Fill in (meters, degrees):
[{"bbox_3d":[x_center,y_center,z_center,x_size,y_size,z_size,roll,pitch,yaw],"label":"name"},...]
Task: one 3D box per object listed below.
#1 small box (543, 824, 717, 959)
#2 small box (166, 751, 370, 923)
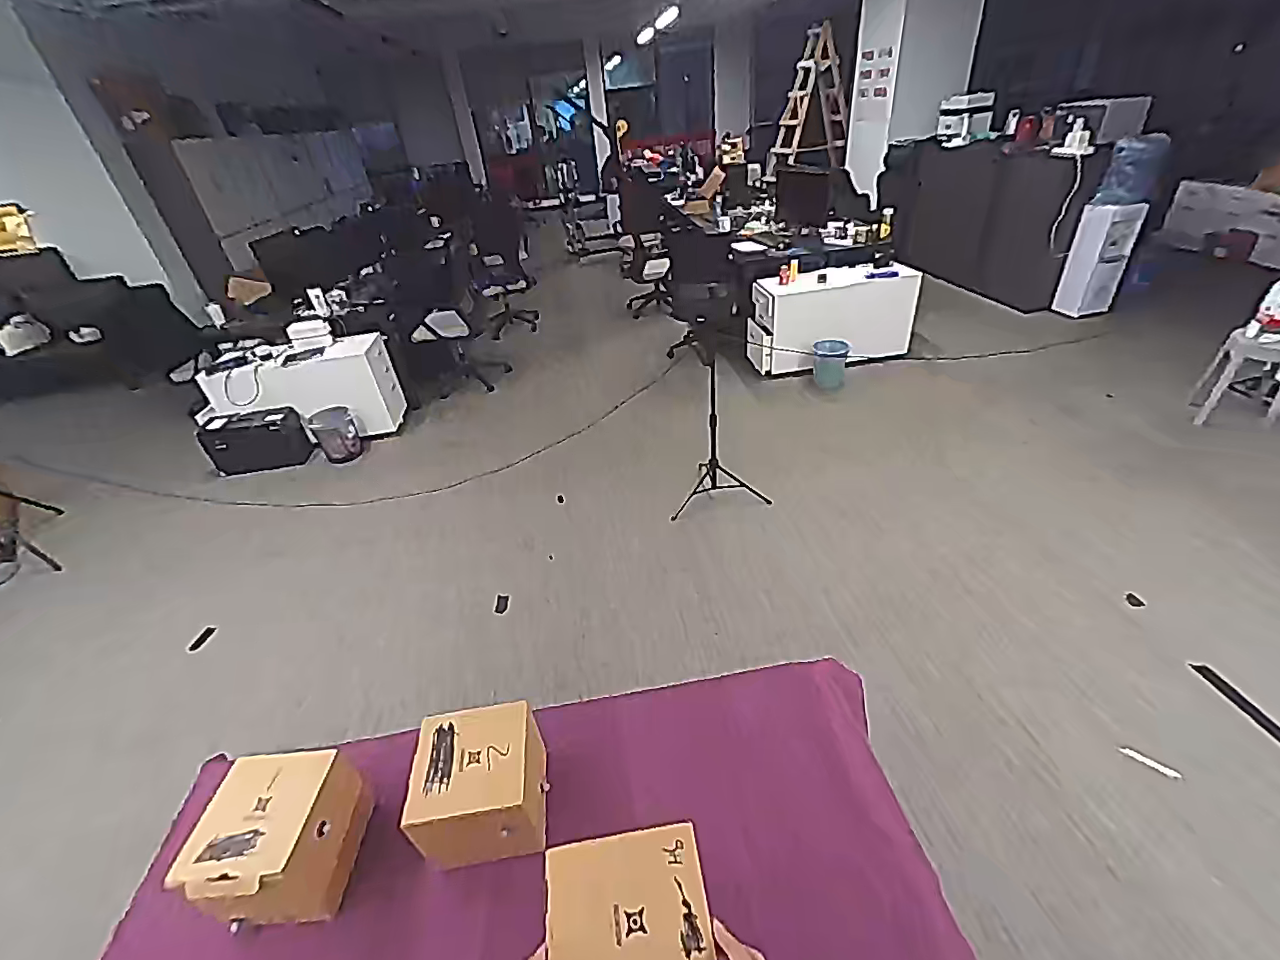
[{"bbox_3d":[-0.005,0.523,0.610,0.179,0.176,0.168,-9,40,-2],"label":"small box"},{"bbox_3d":[-0.546,0.549,0.829,0.168,0.176,0.179,-5,34,2],"label":"small box"}]
